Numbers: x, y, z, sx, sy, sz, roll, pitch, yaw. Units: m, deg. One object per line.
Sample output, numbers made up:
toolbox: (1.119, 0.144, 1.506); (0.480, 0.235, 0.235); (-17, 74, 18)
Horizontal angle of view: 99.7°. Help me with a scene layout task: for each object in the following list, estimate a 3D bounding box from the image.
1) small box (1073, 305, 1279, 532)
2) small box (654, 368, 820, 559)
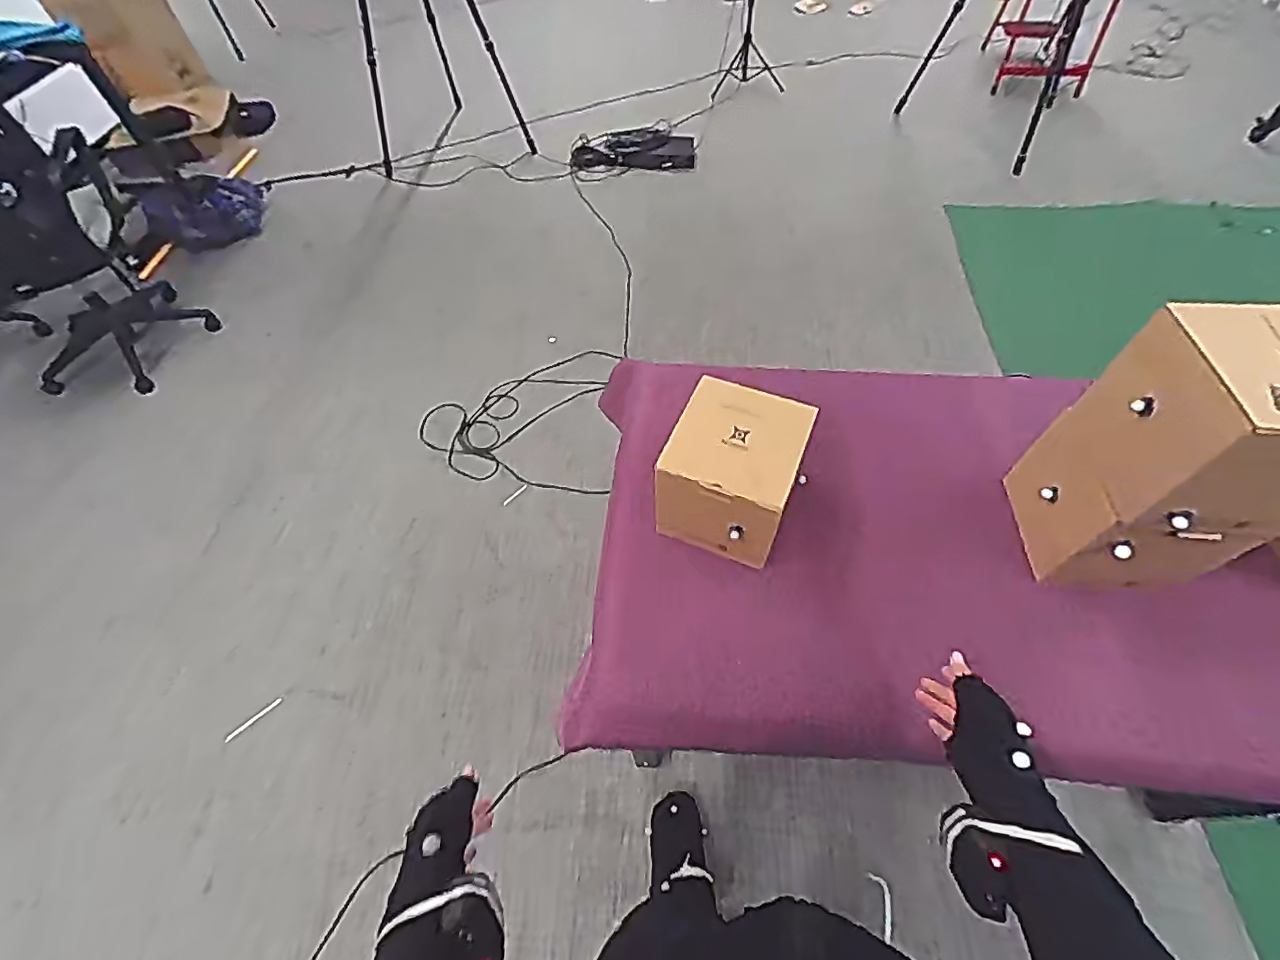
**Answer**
small box: (0.614, -0.060, 0.568); (0.168, 0.176, 0.179); (3, 54, 5)
small box: (0.130, -0.018, 0.745); (0.168, 0.176, 0.179); (19, 59, 15)
